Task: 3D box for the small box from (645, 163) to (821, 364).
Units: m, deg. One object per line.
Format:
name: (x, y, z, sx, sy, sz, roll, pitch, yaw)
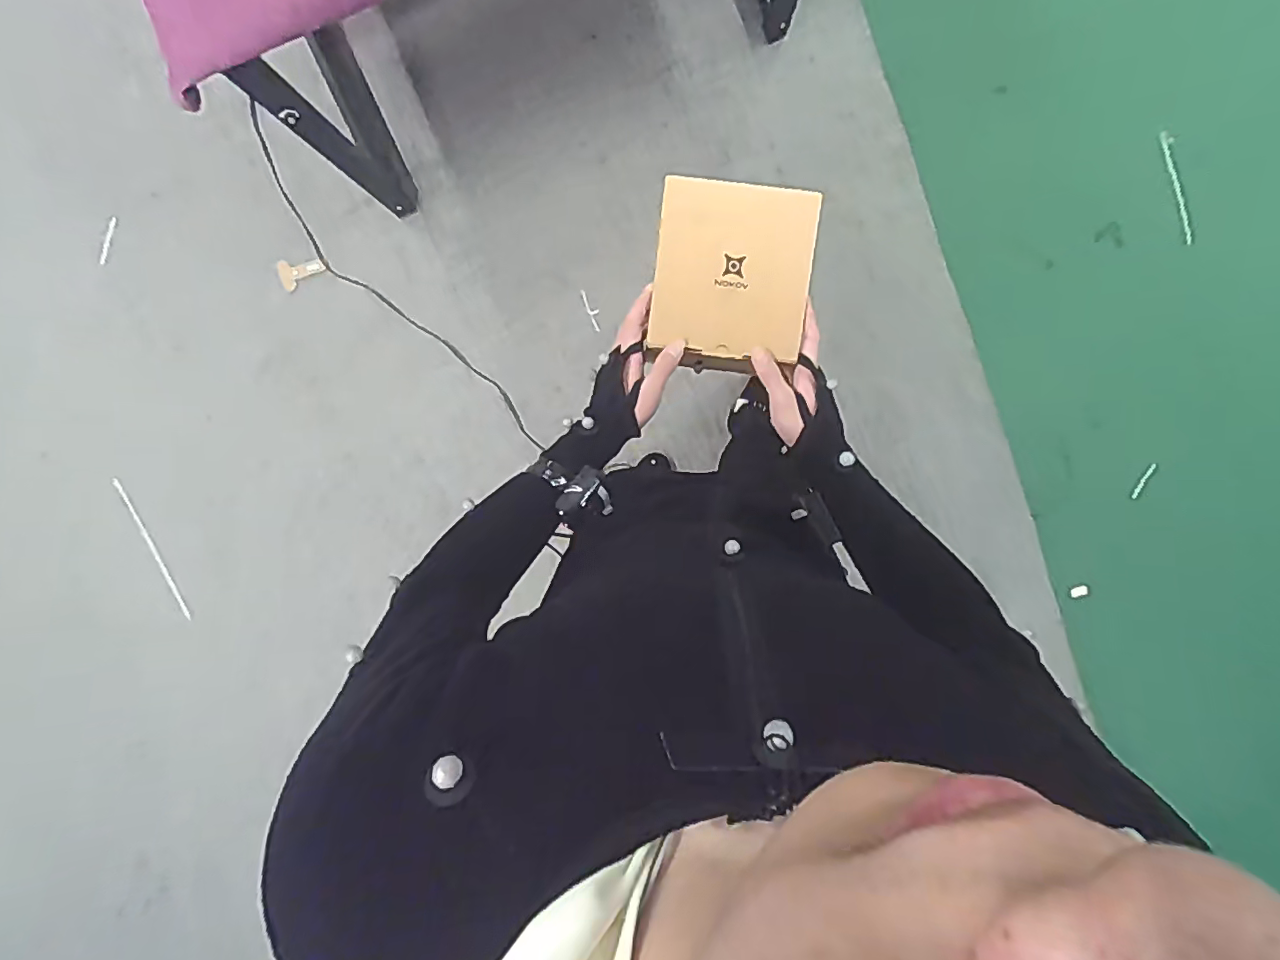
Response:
small box: (0.096, -0.240, 0.642, 0.168, 0.176, 0.179, 6, 98, -1)
